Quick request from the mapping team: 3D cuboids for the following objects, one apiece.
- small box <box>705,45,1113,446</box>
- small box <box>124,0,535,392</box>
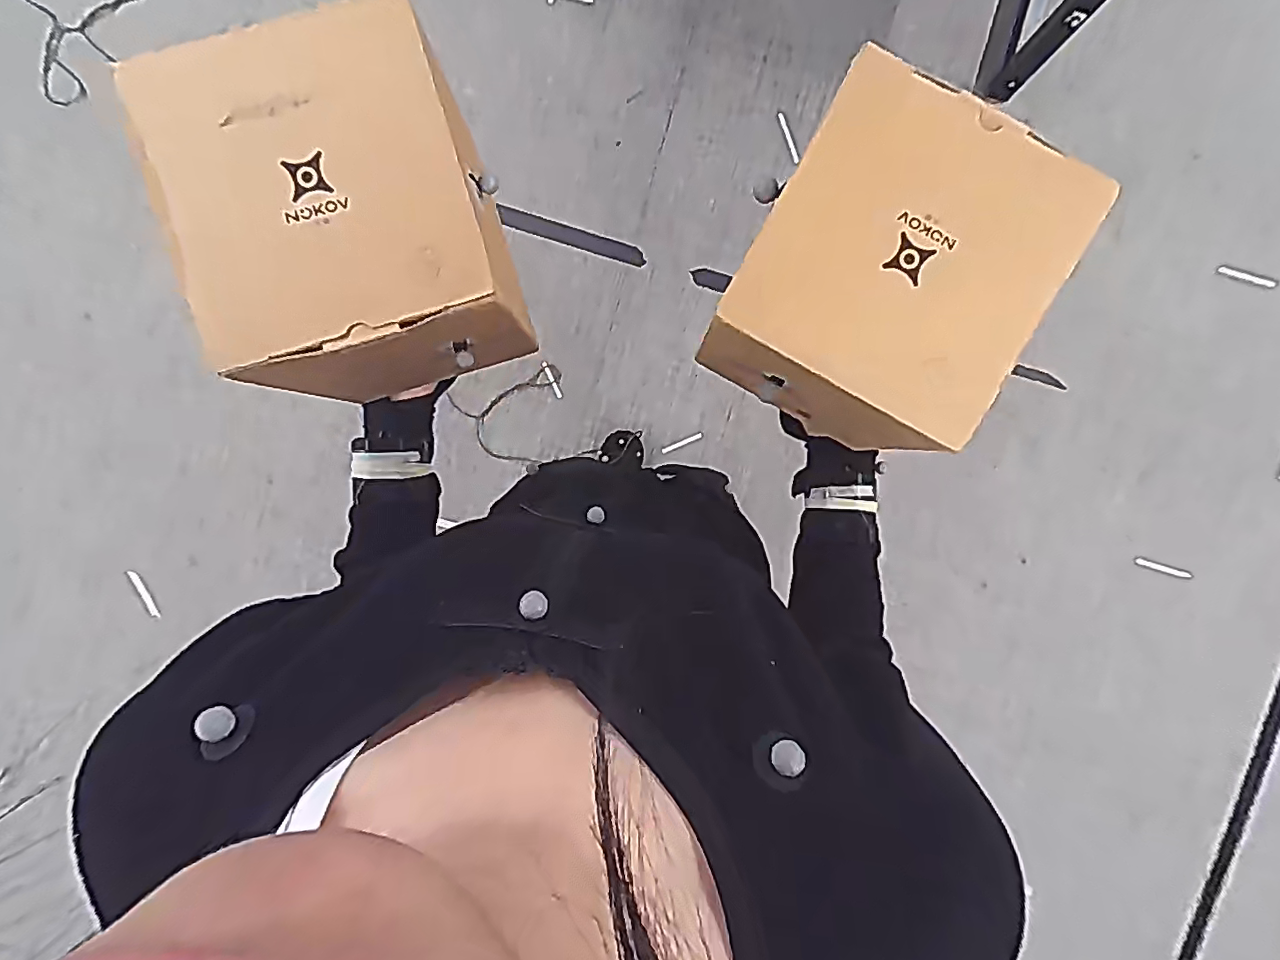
[{"bbox_3d":[0.158,-0.135,0.388,0.168,0.176,0.179,29,92,0],"label":"small box"},{"bbox_3d":[-0.182,-0.167,0.380,0.168,0.176,0.179,-17,93,-3],"label":"small box"}]
